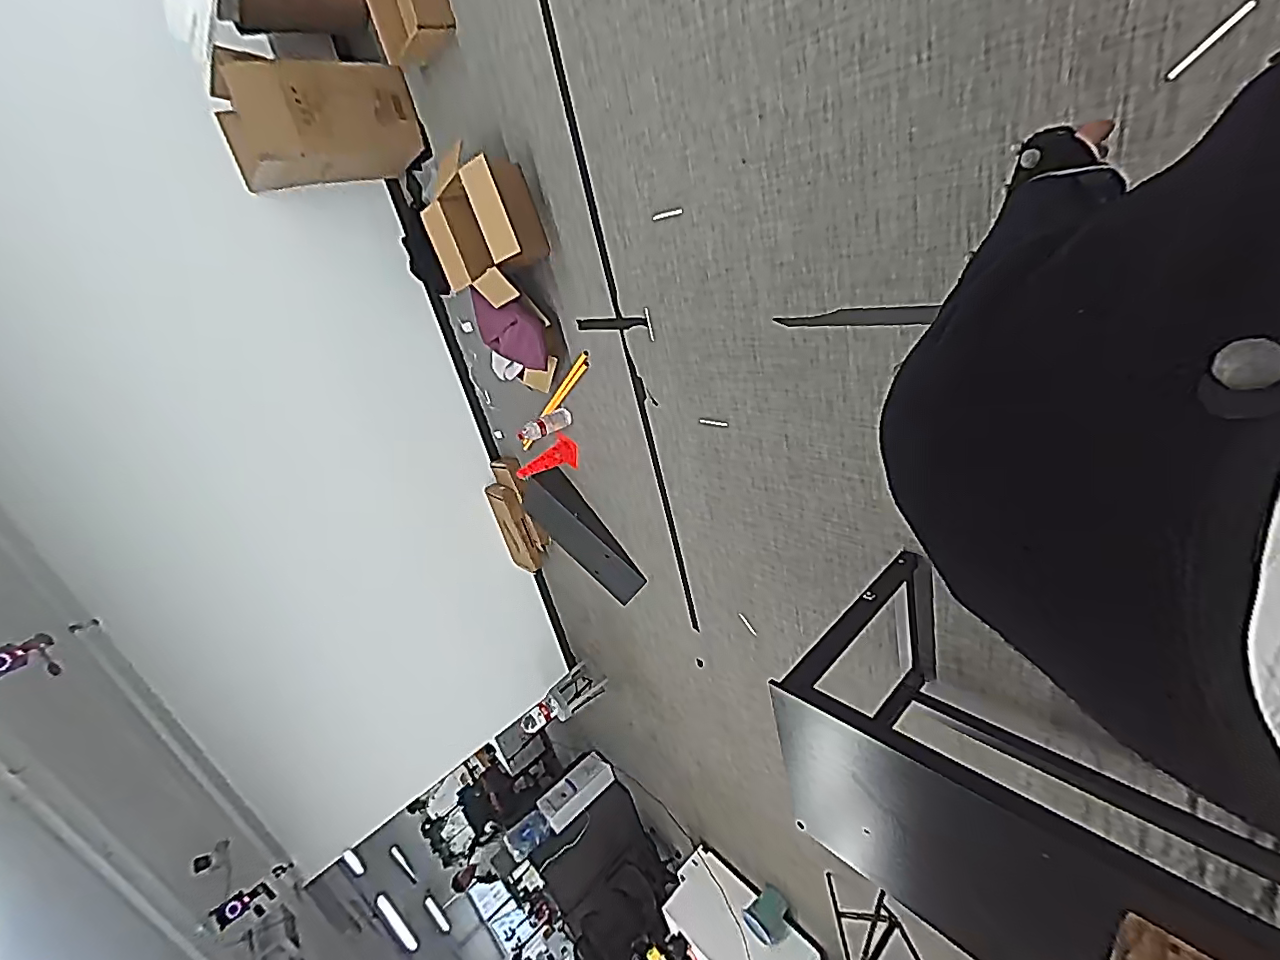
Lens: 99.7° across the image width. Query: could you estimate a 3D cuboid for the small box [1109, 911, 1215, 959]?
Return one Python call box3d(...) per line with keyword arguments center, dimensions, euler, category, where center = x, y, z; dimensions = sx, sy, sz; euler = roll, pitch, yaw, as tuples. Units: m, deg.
box3d(center=(0.838, 0.842, 0.848), dimensions=(0.168, 0.176, 0.179), euler=(15, 128, 49), category="small box")
